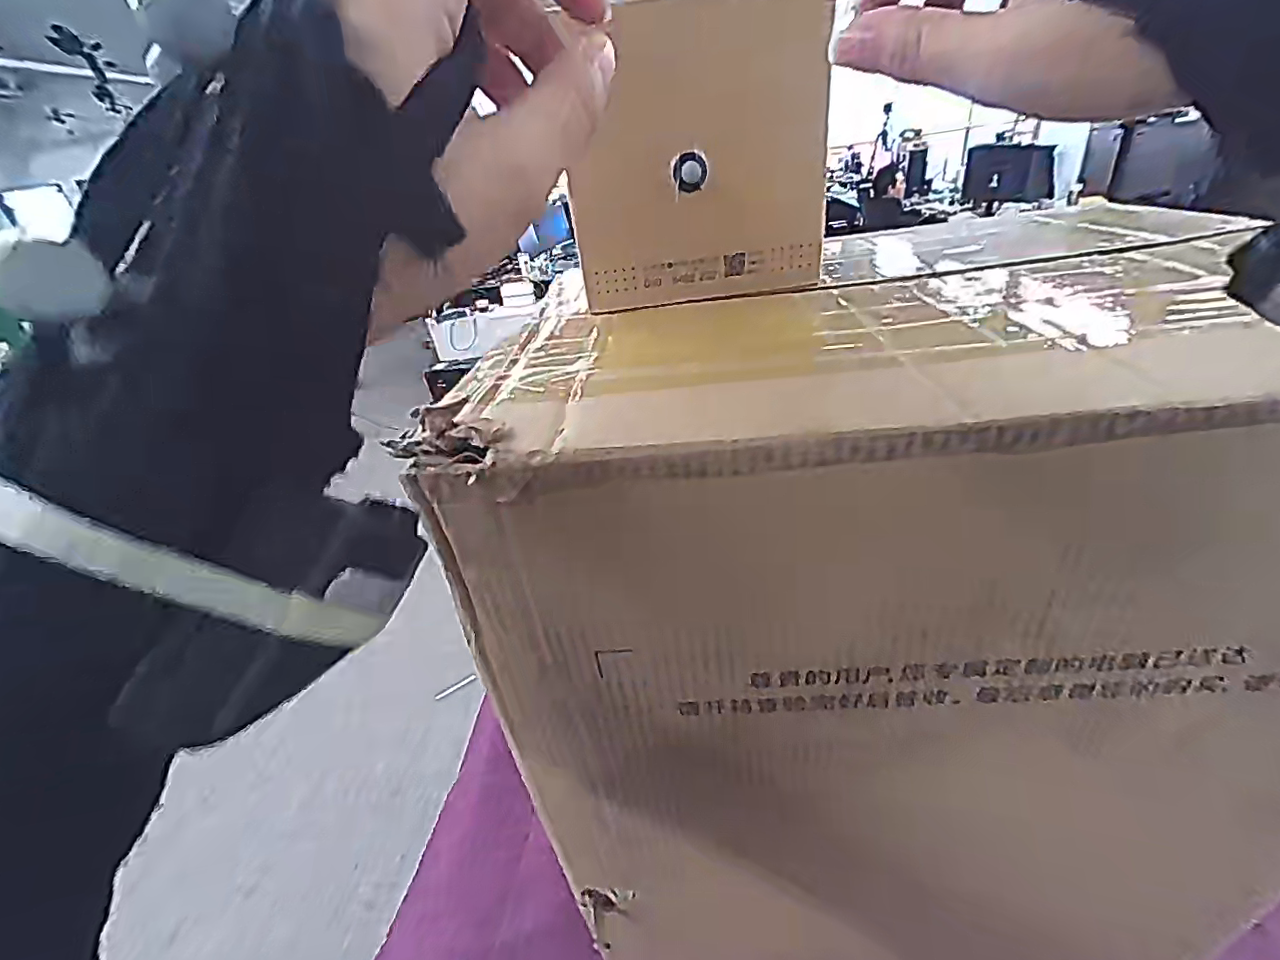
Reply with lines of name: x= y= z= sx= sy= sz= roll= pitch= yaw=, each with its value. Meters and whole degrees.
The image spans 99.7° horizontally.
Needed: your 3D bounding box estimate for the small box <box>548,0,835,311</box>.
small box: x=0.034 y=-0.233 z=0.411 sx=0.168 sy=0.176 sz=0.179 roll=-7 pitch=31 yaw=0
